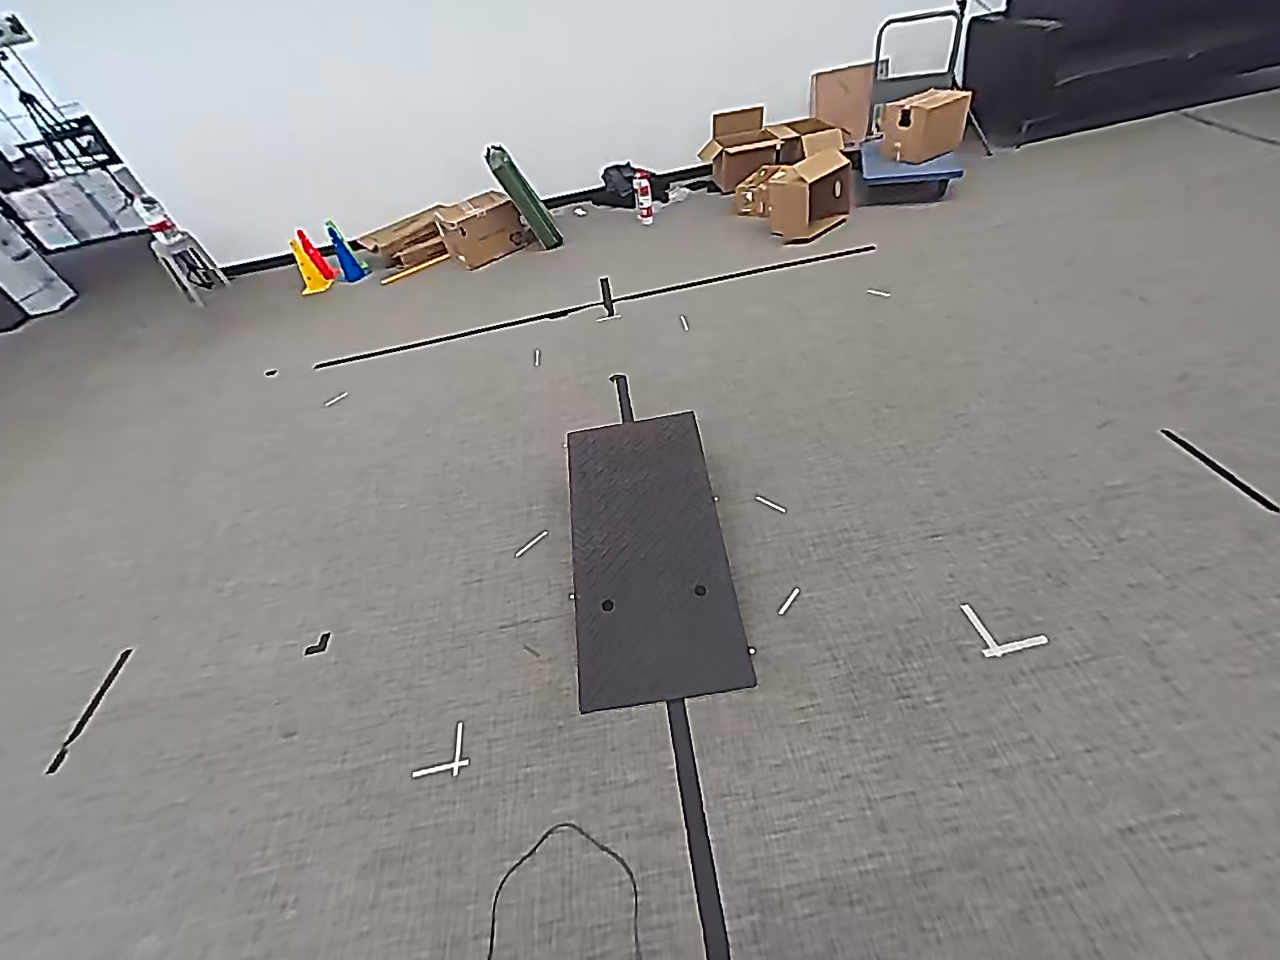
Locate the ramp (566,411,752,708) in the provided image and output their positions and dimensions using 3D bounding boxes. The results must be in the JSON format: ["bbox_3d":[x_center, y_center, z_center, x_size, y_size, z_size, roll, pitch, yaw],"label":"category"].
[{"bbox_3d":[0.018,0.187,1.765,0.509,0.206,0.991,-10,45,1],"label":"ramp"}]
